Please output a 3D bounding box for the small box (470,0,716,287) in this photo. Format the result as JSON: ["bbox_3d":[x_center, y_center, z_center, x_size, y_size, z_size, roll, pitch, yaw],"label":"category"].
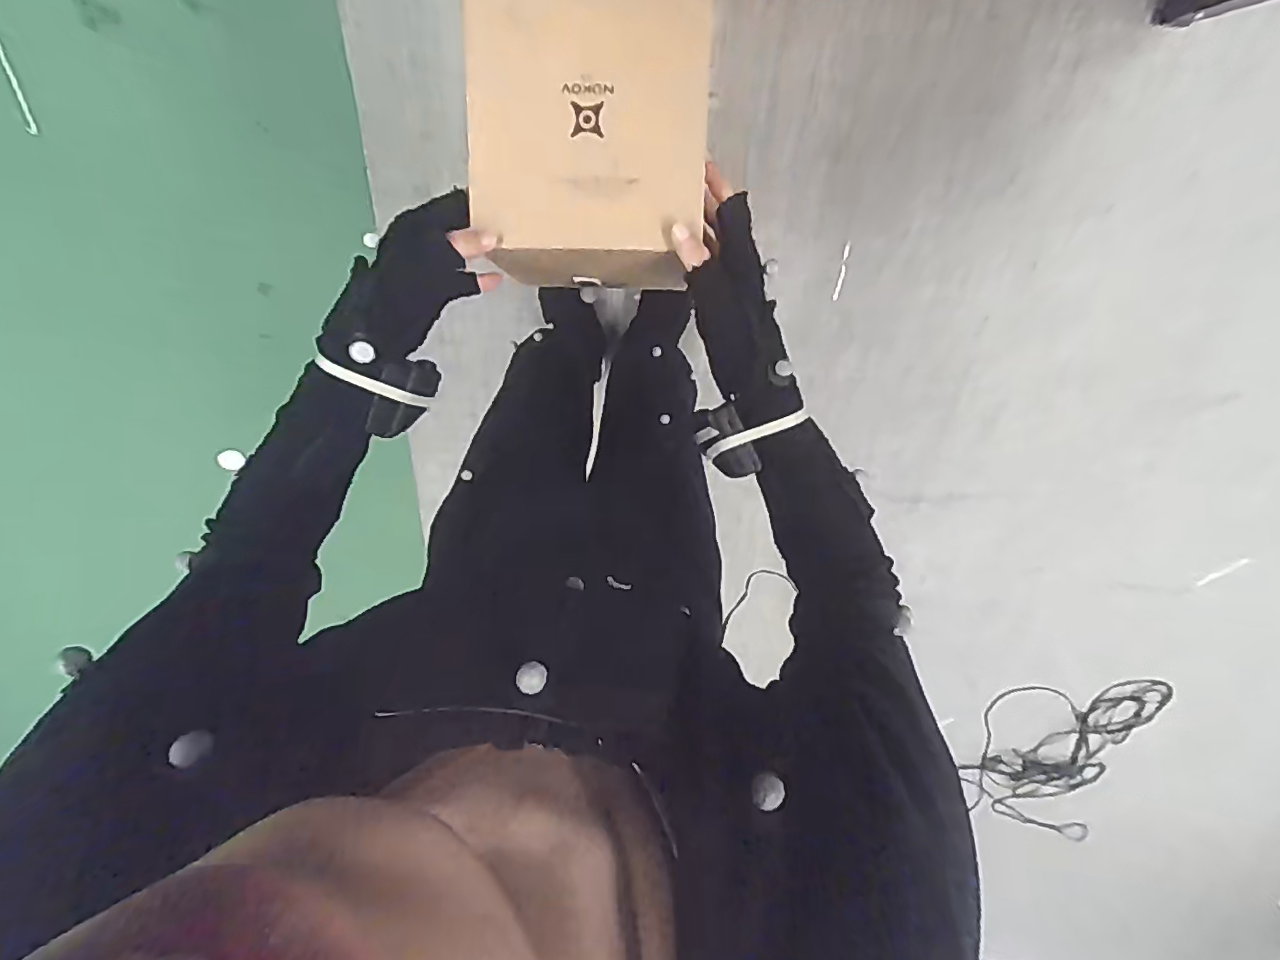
[{"bbox_3d":[-0.032,-0.267,0.445,0.168,0.176,0.179,1,100,1],"label":"small box"}]
